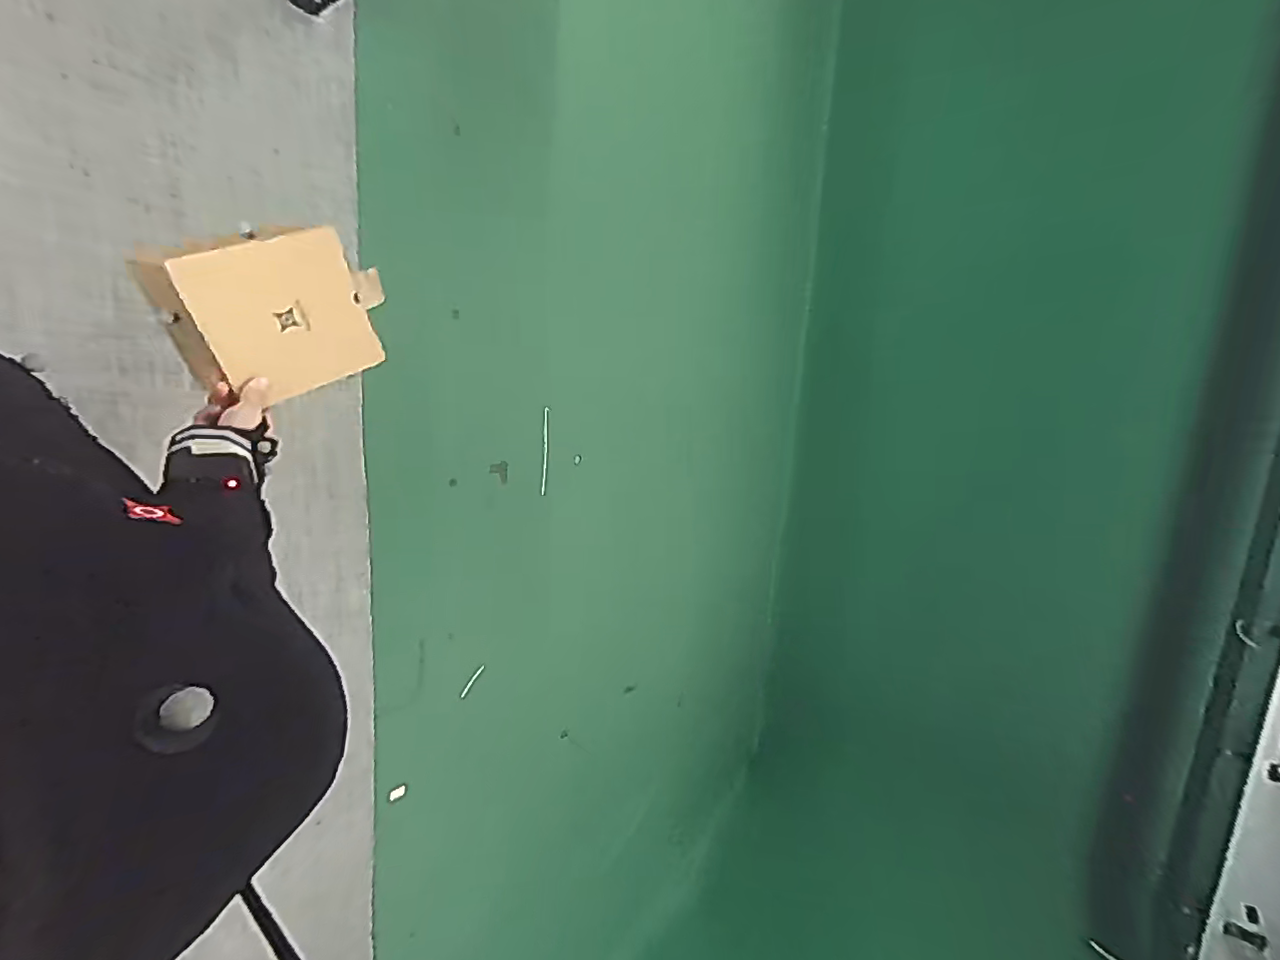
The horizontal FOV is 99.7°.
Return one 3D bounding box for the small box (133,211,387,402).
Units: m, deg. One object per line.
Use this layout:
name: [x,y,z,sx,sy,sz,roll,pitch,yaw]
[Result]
small box: [-0.449,-0.212,0.643,0.179,0.176,0.168,-41,135,-38]
